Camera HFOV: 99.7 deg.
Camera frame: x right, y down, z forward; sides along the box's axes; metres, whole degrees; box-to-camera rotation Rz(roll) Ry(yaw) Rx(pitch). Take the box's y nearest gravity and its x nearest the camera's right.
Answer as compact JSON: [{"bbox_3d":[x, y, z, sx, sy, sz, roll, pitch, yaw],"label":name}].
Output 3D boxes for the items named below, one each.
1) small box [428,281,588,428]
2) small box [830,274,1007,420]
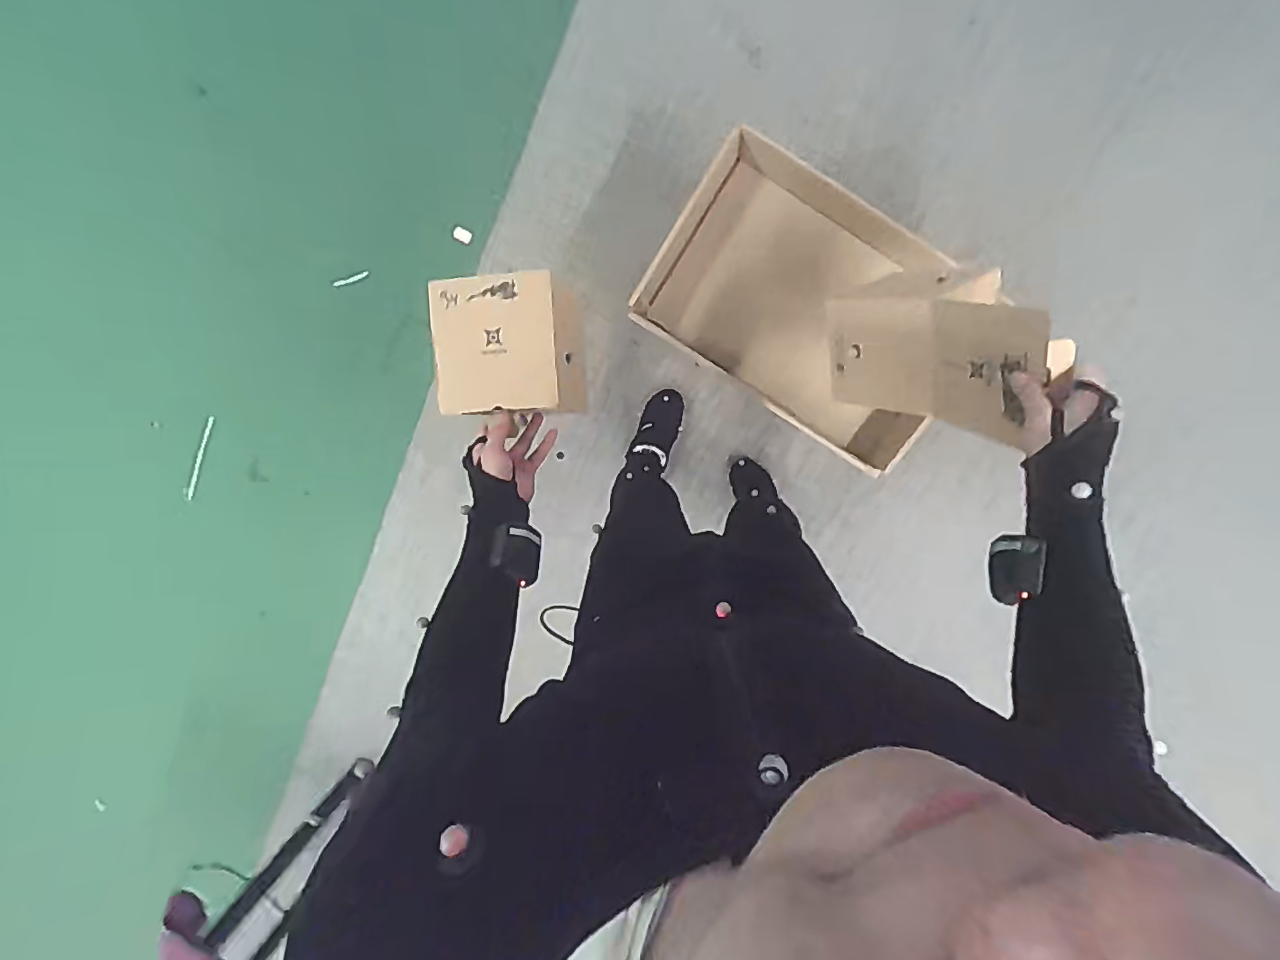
[{"bbox_3d":[-0.176,-0.167,0.770,0.168,0.176,0.179,-3,94,9],"label":"small box"},{"bbox_3d":[0.412,-0.206,0.813,0.179,0.176,0.168,-25,116,-25],"label":"small box"}]
